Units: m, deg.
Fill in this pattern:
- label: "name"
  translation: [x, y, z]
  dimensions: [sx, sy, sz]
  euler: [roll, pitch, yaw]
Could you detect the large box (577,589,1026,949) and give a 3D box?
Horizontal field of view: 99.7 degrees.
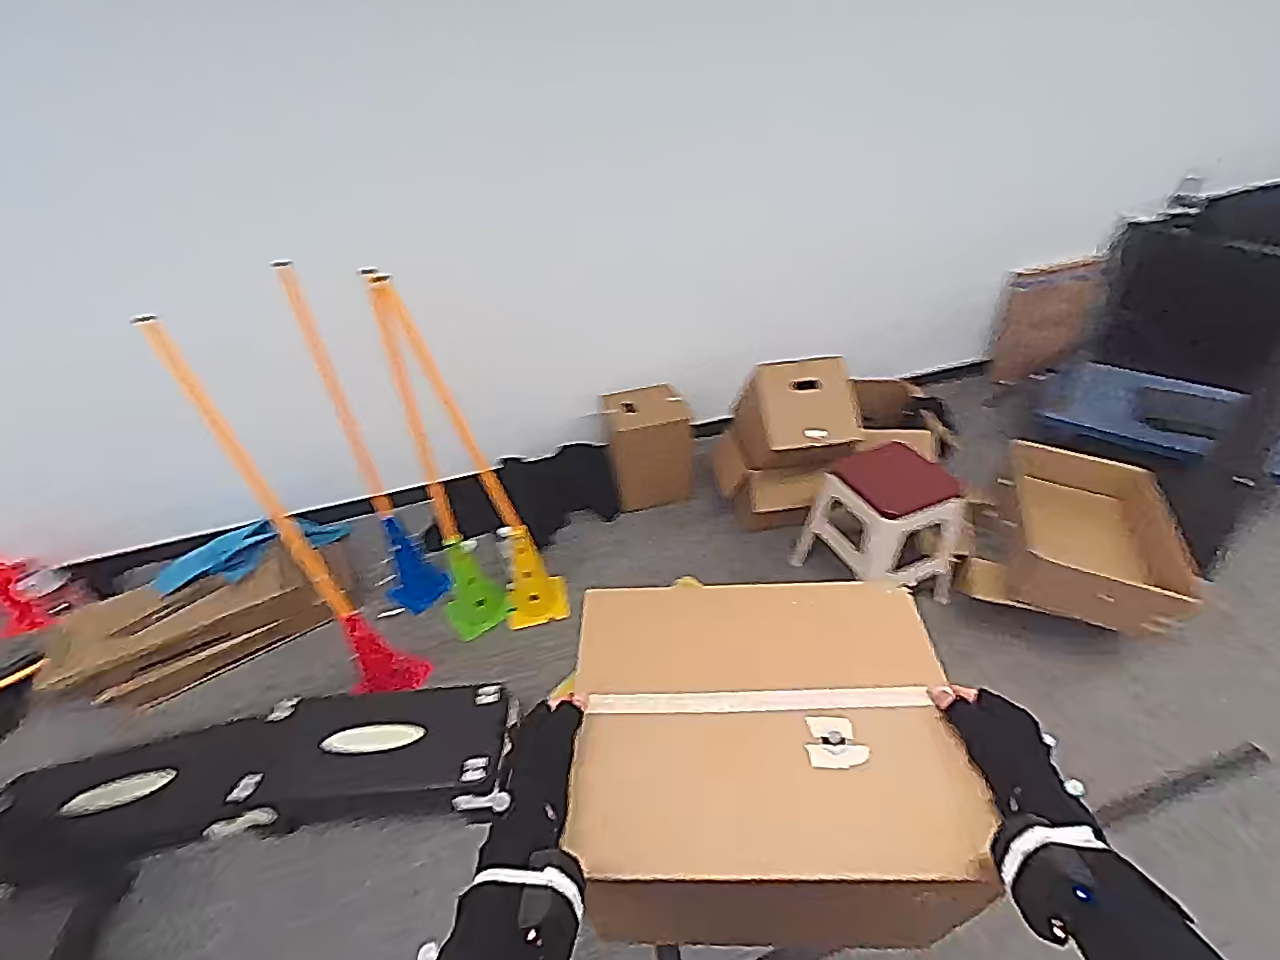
- label: "large box"
  translation: [0.150, 0.362, 0.685]
  dimensions: [0.408, 0.320, 0.320]
  euler: [-2, 41, 4]
